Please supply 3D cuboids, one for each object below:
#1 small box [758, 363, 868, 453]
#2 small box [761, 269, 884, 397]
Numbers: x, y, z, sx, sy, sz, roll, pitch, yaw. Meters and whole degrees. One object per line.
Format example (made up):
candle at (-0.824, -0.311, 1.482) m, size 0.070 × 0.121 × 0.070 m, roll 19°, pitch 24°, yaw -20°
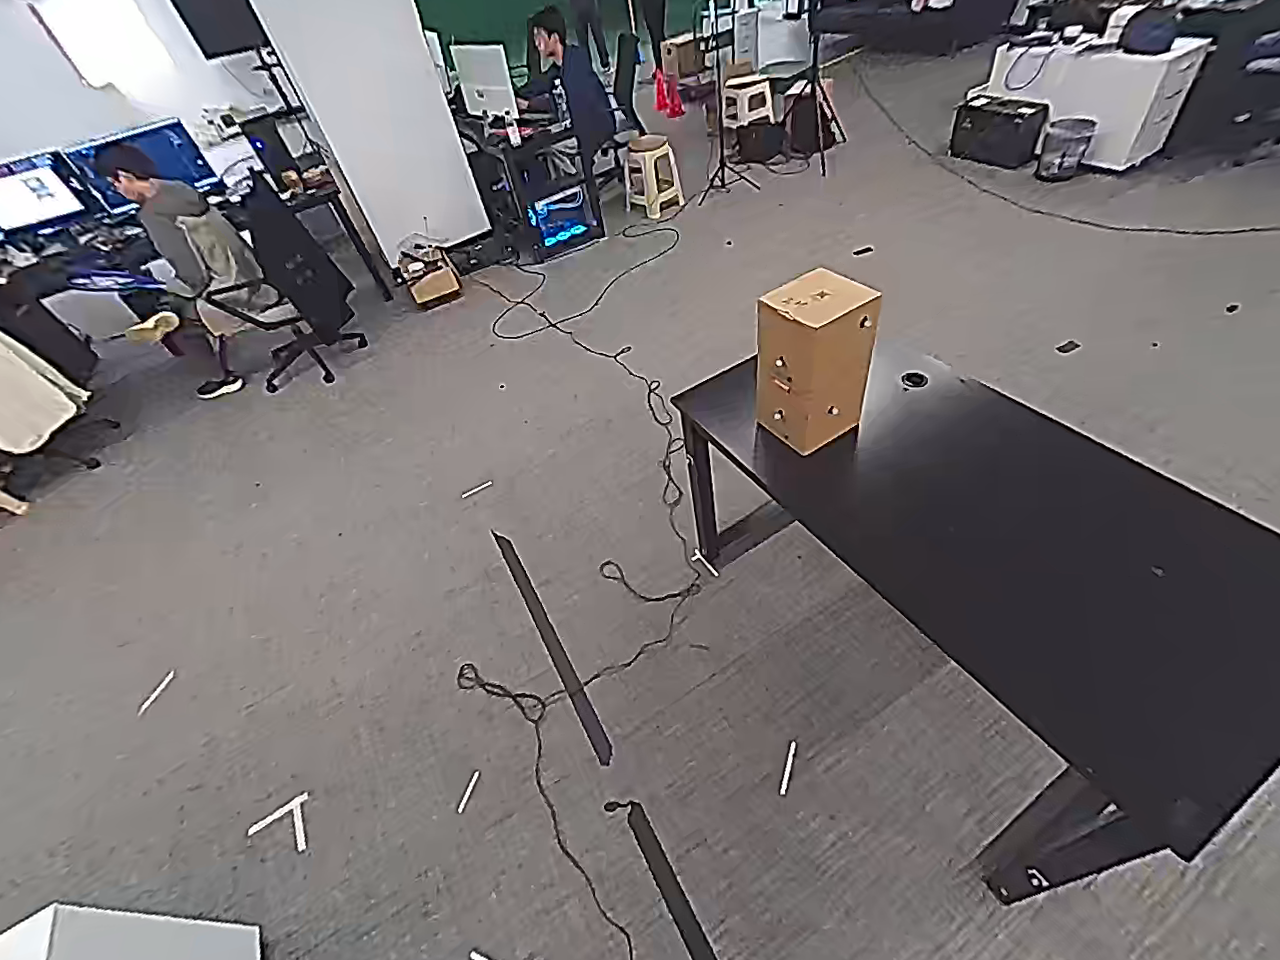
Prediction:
small box at (0.391, -0.191, 1.237) m, size 0.179 × 0.176 × 0.168 m, roll -30°, pitch 49°, yaw -15°
small box at (0.366, -0.304, 1.118) m, size 0.179 × 0.176 × 0.168 m, roll -30°, pitch 48°, yaw -15°
